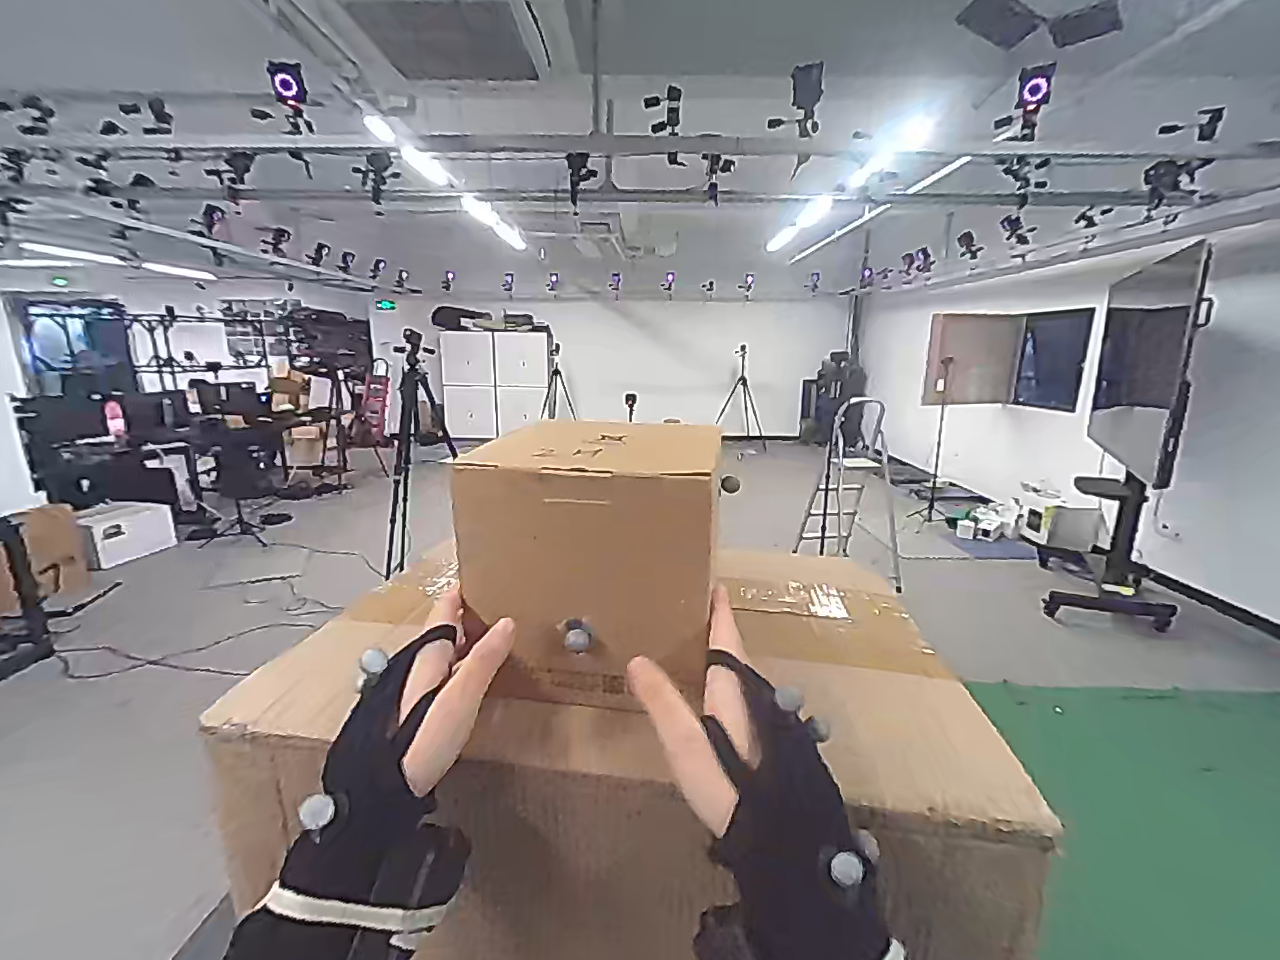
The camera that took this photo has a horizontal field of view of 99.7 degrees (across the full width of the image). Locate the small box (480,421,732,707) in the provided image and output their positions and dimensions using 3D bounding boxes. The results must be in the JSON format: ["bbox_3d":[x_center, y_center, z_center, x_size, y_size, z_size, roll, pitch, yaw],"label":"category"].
[{"bbox_3d":[-0.014,0.051,0.438,0.168,0.176,0.179,3,15,9],"label":"small box"}]
